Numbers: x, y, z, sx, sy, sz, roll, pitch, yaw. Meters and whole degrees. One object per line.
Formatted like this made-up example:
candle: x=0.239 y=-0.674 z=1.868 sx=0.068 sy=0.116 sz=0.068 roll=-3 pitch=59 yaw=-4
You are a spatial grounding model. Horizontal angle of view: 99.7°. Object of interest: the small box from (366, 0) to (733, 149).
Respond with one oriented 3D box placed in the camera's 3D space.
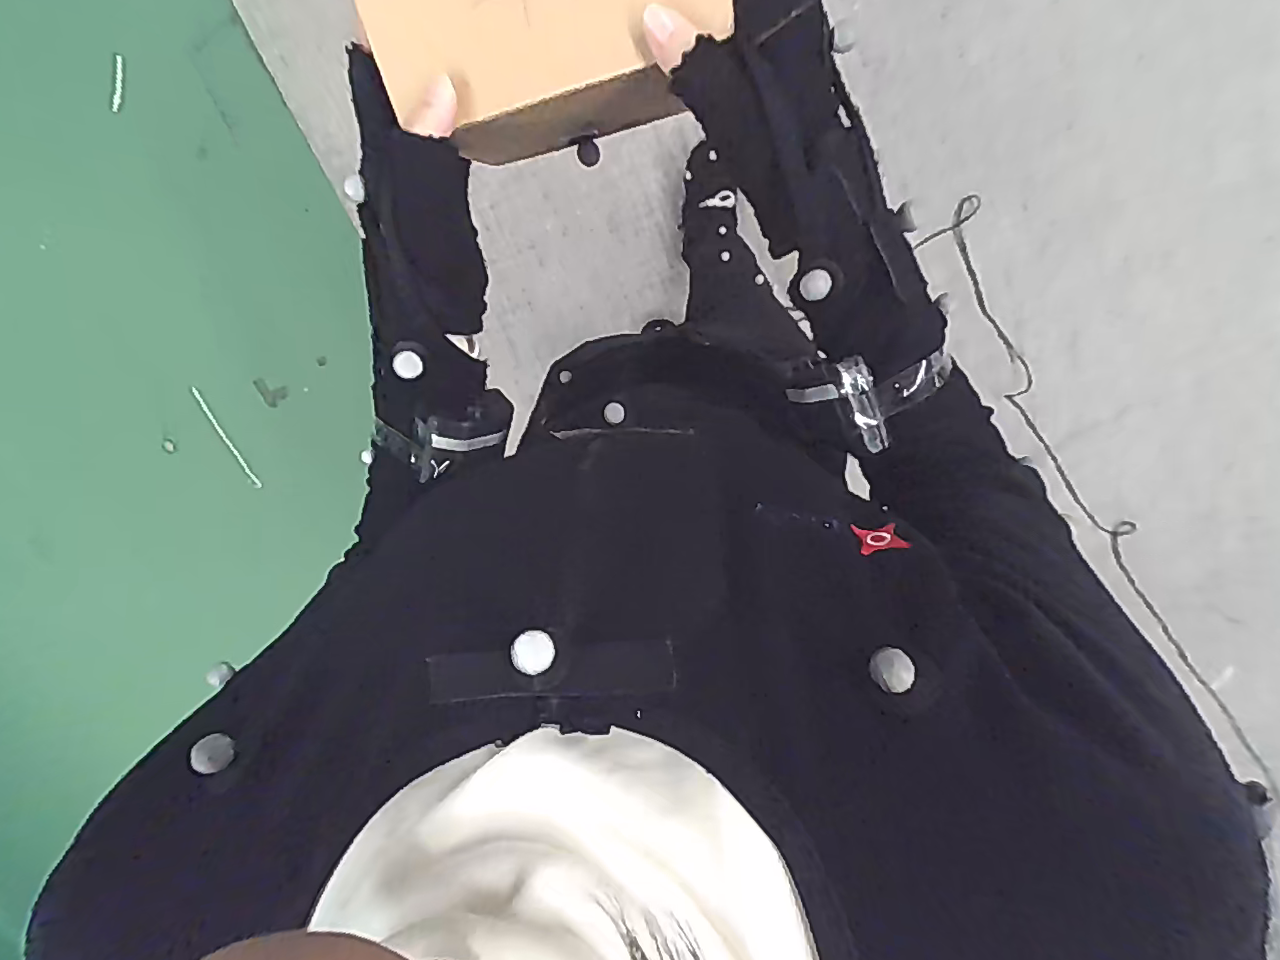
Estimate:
small box: x=-0.051 y=-0.305 z=0.292 sx=0.168 sy=0.176 sz=0.179 roll=-11 pitch=115 yaw=9
